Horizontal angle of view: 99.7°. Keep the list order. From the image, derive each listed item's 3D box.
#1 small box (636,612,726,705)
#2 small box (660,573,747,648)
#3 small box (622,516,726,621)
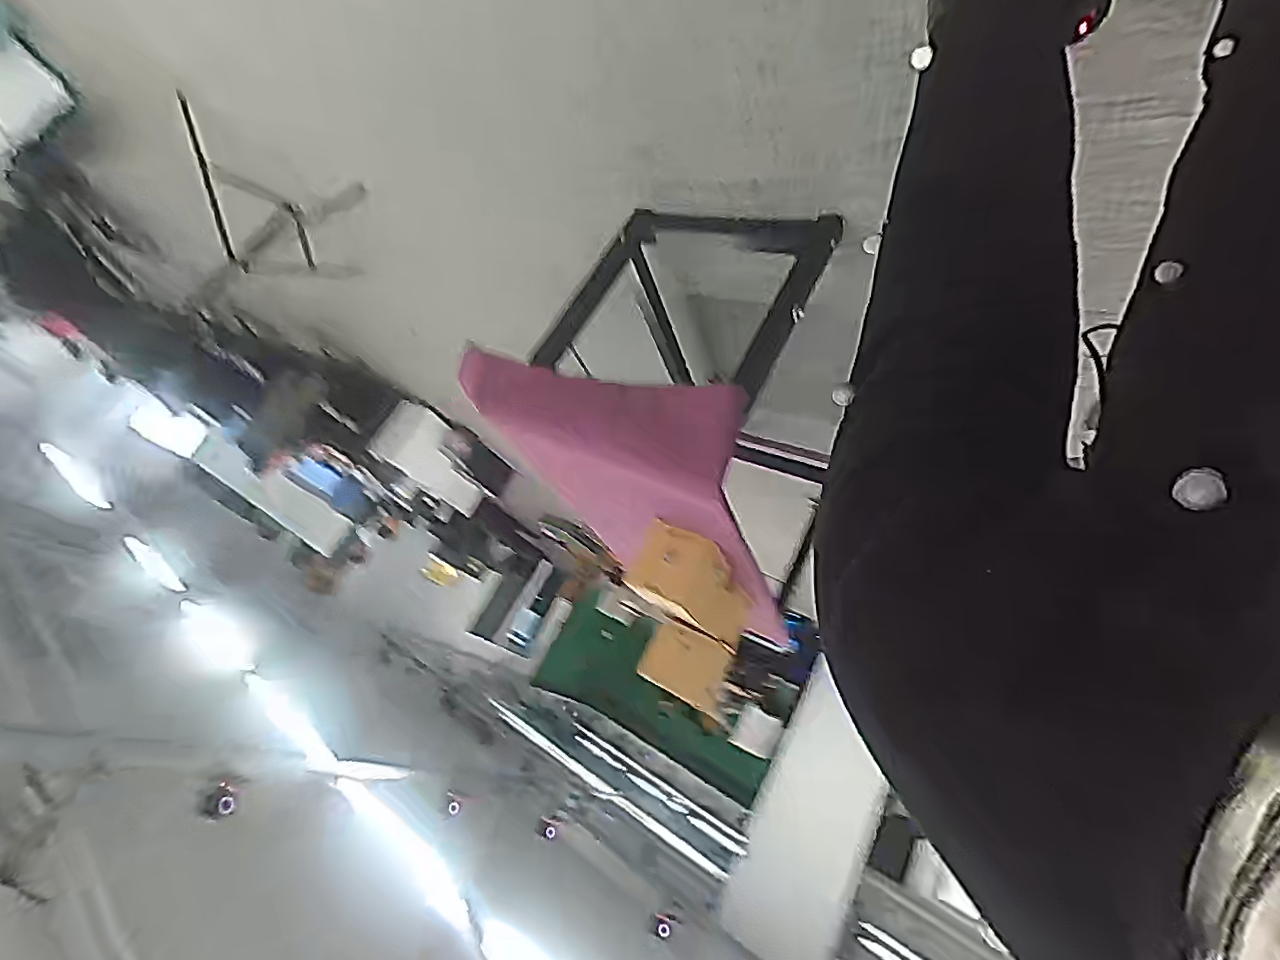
[{"bbox_3d":[0.120,0.486,1.477,0.168,0.176,0.179,19,160,30],"label":"small box"},{"bbox_3d":[0.188,0.347,1.535,0.179,0.176,0.168,19,160,33],"label":"small box"},{"bbox_3d":[0.088,0.208,1.293,0.168,0.176,0.179,19,160,29],"label":"small box"}]
